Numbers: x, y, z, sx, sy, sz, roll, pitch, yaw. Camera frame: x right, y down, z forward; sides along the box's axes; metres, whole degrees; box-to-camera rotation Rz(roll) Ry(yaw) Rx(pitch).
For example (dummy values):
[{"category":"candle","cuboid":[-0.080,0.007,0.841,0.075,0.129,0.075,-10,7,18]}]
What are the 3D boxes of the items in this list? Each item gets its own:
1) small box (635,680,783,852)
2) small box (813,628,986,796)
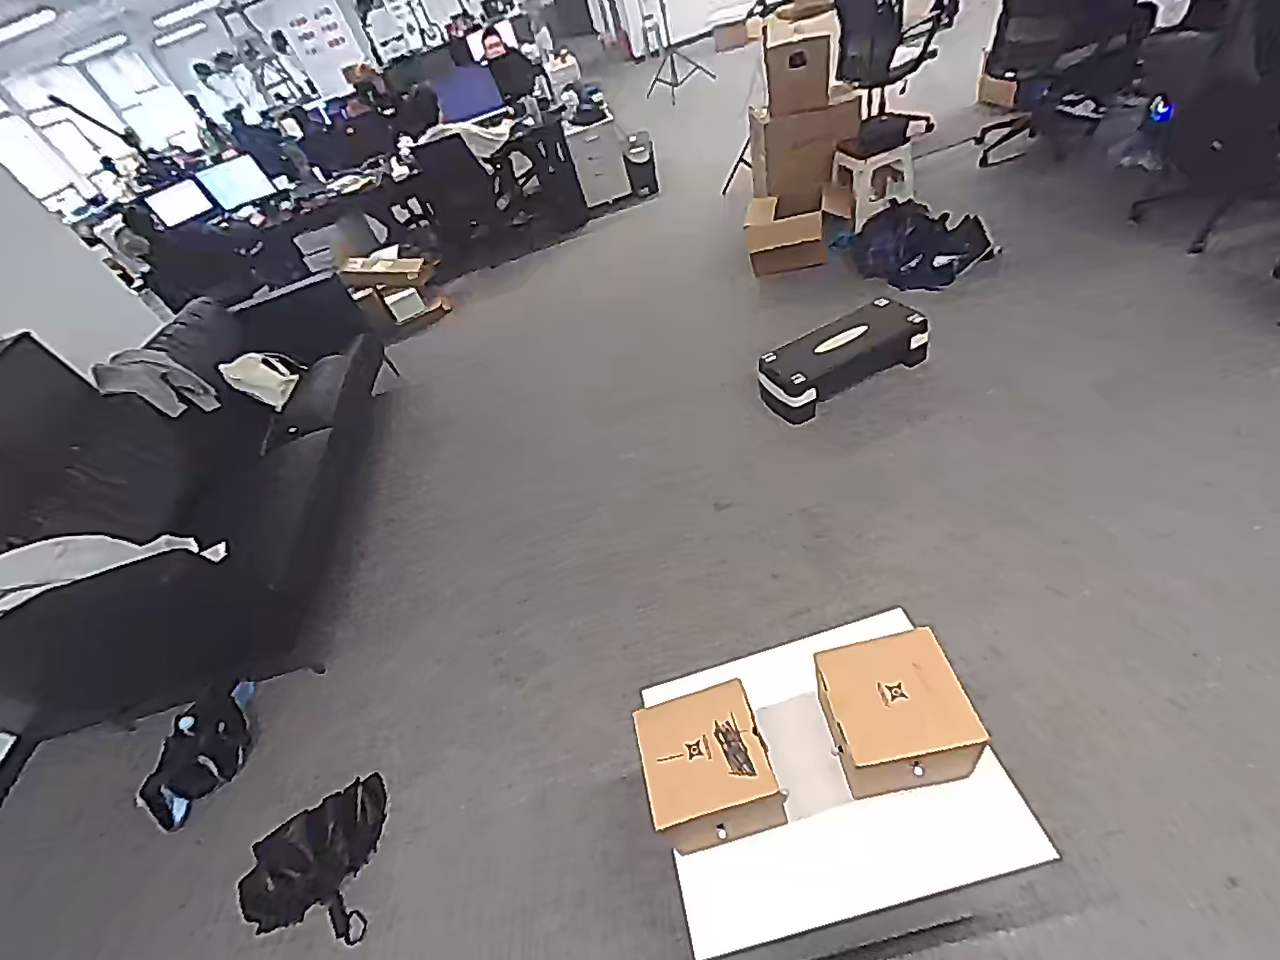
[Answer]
[{"category":"small box","cuboid":[0.108,0.439,0.825,0.179,0.176,0.168,-19,43,3]},{"category":"small box","cuboid":[0.375,0.351,0.809,0.179,0.176,0.168,-16,45,7]}]
